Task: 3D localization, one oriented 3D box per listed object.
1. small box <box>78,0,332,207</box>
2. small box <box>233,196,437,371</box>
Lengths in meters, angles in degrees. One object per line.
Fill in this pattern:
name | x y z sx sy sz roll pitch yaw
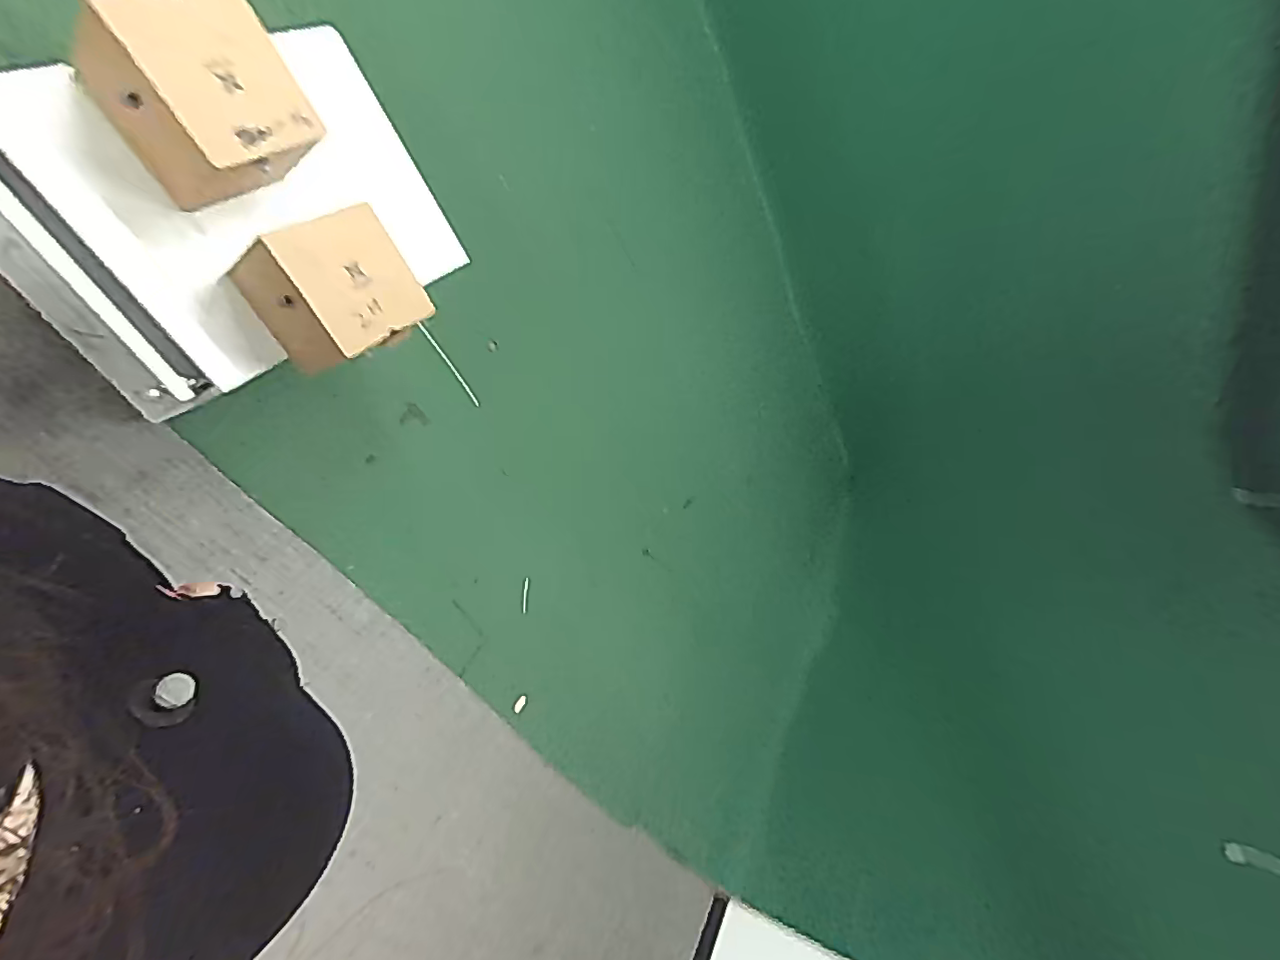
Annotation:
small box | -0.547 -0.482 0.685 0.168 0.176 0.179 -52 127 -37
small box | -0.448 -0.281 0.795 0.168 0.176 0.179 -49 124 -38
